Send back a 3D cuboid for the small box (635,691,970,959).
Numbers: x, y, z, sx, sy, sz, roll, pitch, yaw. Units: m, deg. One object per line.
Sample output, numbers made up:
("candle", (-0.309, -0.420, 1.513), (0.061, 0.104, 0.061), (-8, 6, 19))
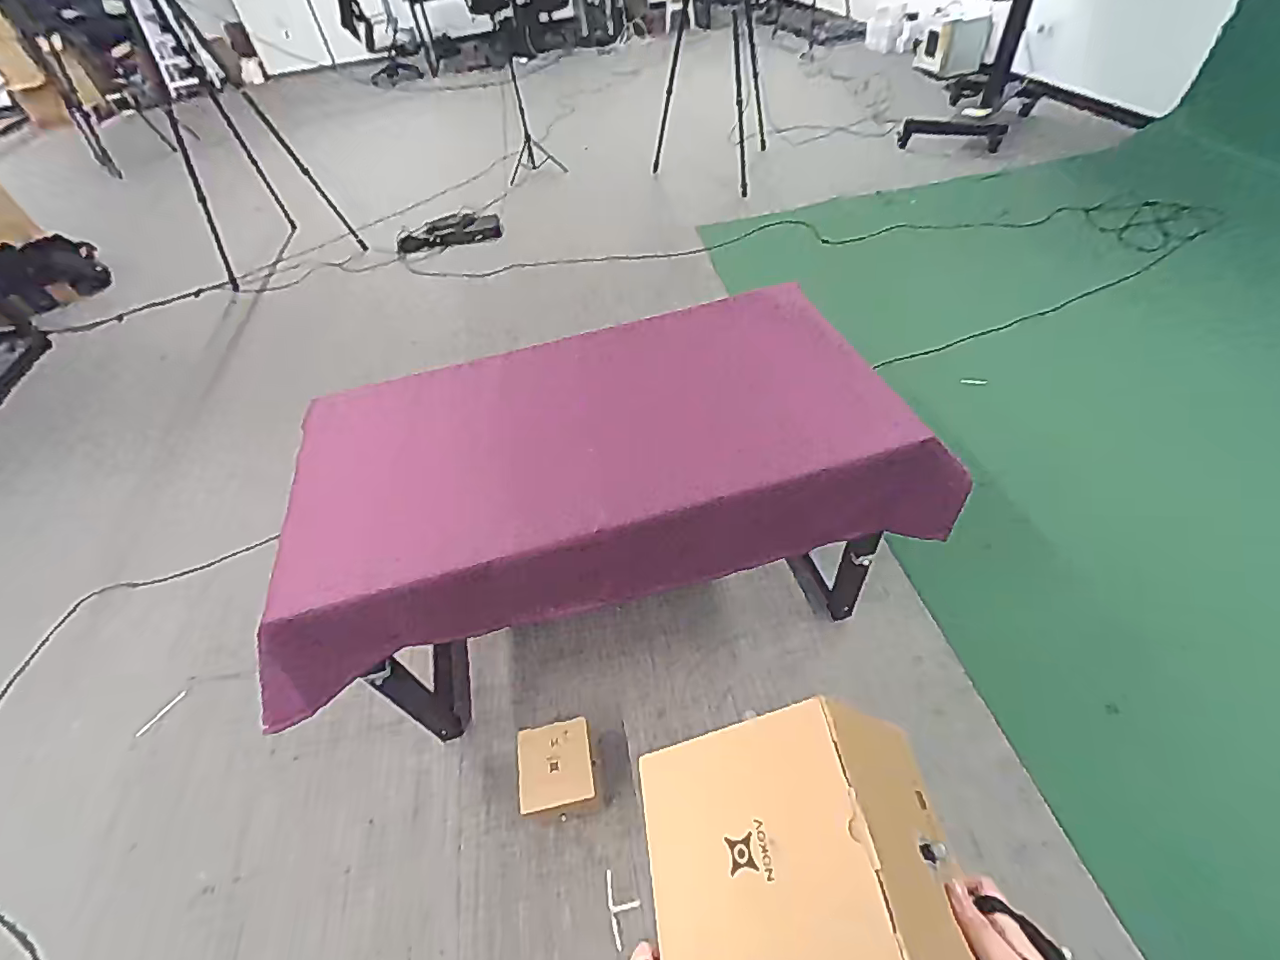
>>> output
("small box", (0.121, 0.291, 0.432), (0.179, 0.176, 0.168), (-33, 45, 26))
